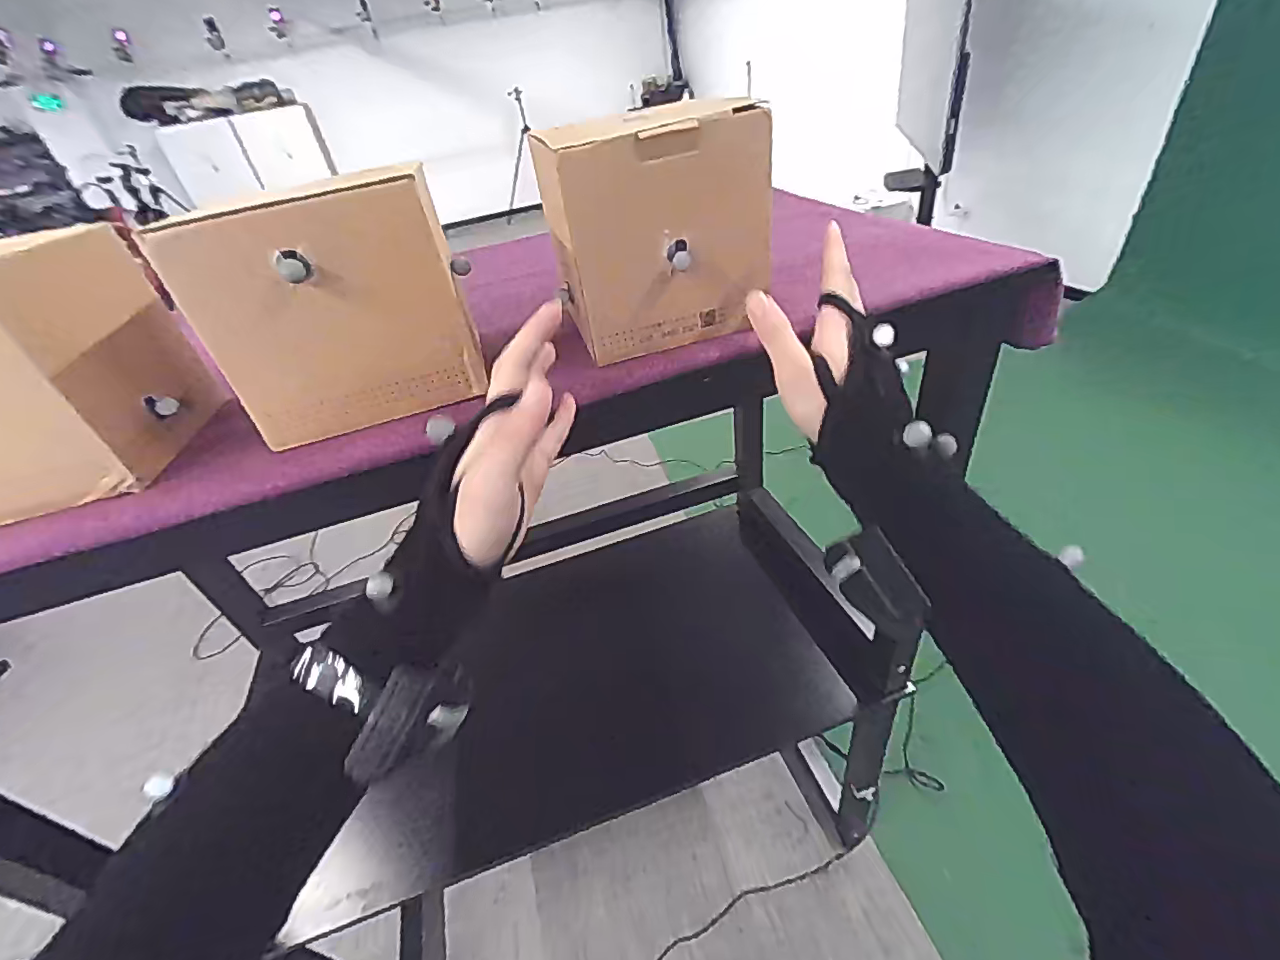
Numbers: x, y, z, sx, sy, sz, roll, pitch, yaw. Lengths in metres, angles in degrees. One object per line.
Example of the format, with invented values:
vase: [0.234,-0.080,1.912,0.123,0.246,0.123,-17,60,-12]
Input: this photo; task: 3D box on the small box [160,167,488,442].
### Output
small box: [-0.241,-0.157,0.471,0.179,0.176,0.168,-18,36,-9]

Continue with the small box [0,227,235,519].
small box: [-0.483,-0.083,0.430,0.179,0.176,0.168,-14,36,-6]
